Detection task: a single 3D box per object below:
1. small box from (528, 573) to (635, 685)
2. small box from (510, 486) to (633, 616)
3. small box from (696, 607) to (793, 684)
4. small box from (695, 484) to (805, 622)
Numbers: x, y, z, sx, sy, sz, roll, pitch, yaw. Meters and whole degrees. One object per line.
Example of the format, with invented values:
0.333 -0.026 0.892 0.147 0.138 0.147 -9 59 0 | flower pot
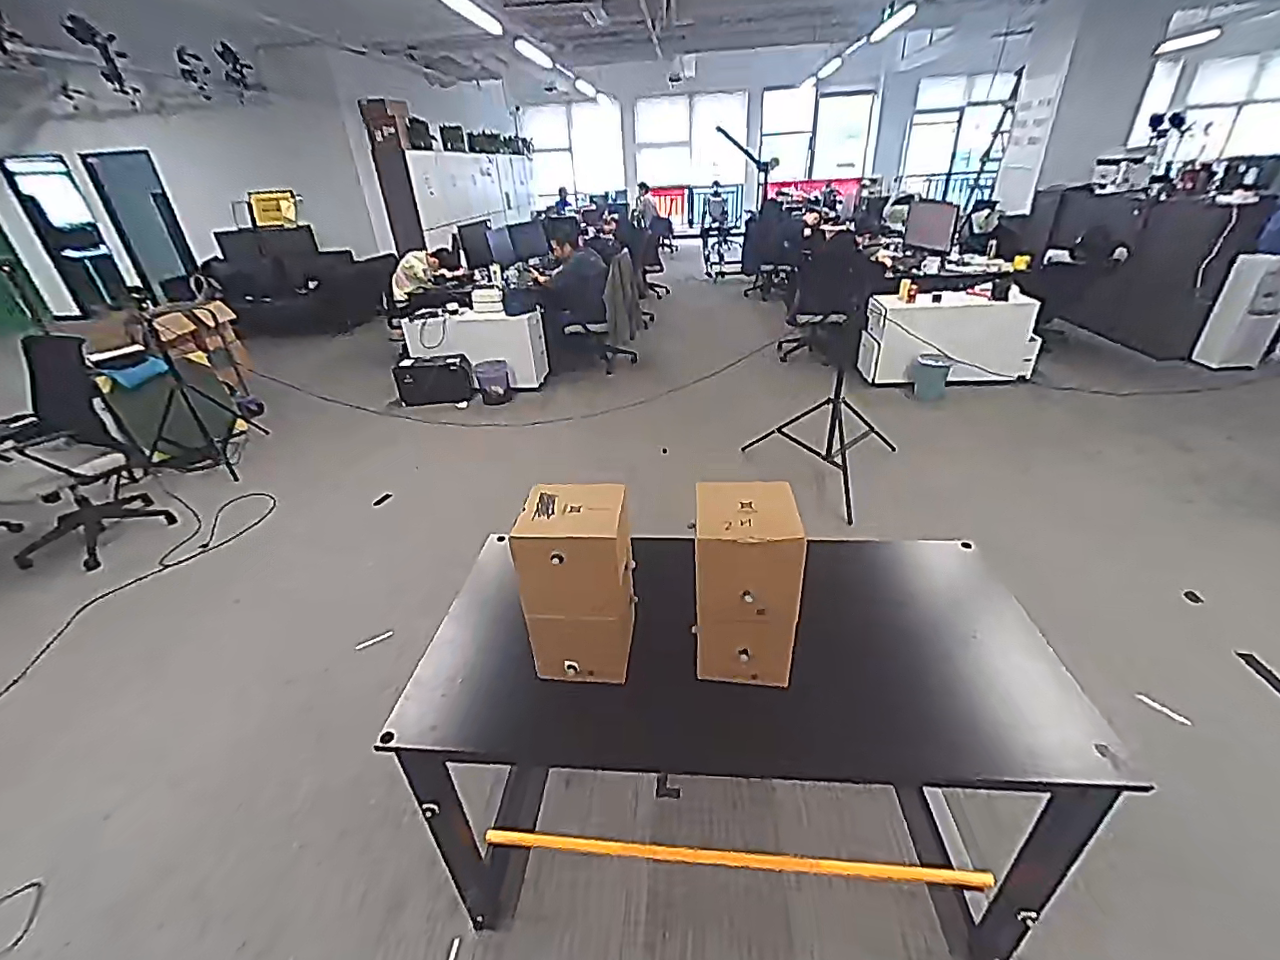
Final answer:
-0.102 0.266 1.041 0.168 0.176 0.179 -1 31 7 | small box
-0.111 0.124 0.959 0.179 0.176 0.168 -1 30 5 | small box
0.196 0.259 1.020 0.168 0.176 0.179 2 31 9 | small box
0.179 0.120 0.930 0.168 0.176 0.179 -1 30 6 | small box
